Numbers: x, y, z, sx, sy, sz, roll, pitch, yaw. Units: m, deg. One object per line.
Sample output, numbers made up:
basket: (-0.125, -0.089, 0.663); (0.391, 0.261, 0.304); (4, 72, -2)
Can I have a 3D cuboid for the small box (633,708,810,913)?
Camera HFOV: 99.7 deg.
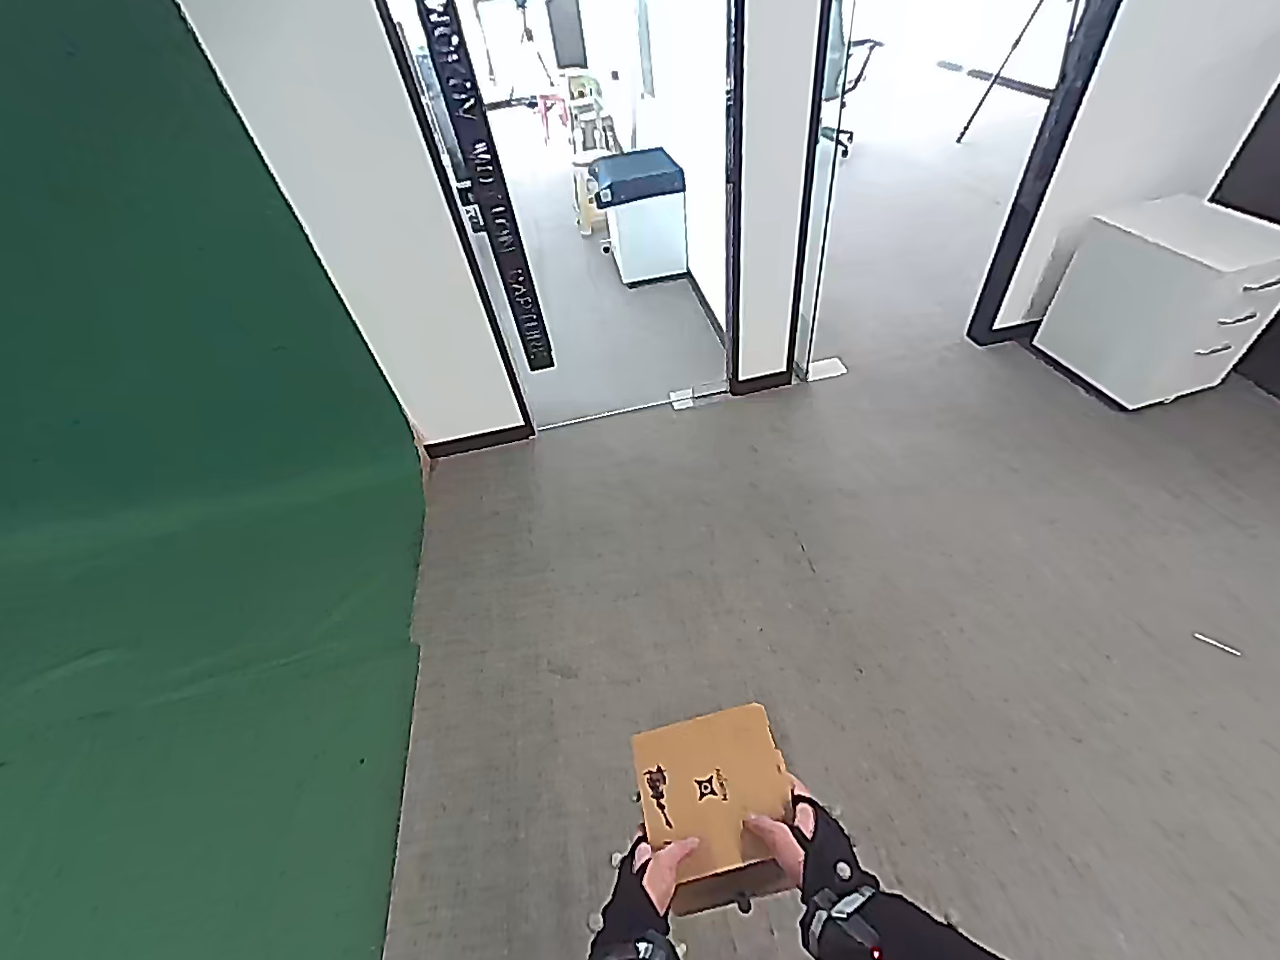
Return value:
small box: (0.098, 0.420, 0.687); (0.179, 0.176, 0.168); (-14, 42, 0)
